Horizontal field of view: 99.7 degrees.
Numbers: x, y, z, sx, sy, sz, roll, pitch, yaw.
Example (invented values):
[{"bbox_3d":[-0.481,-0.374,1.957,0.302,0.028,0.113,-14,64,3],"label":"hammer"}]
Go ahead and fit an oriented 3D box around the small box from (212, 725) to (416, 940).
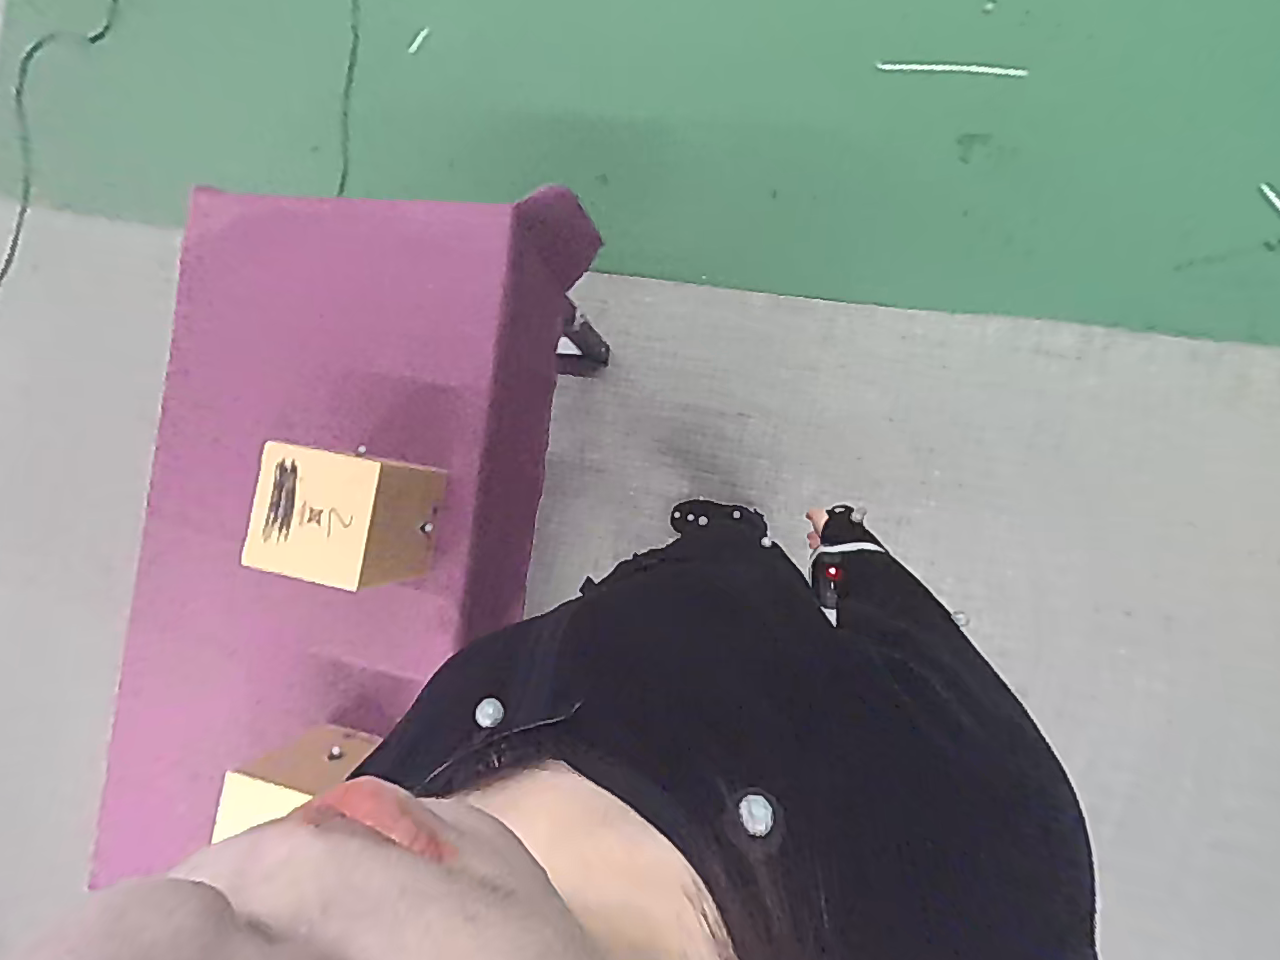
[{"bbox_3d":[-0.443,0.474,0.761,0.168,0.176,0.179,9,88,12],"label":"small box"}]
